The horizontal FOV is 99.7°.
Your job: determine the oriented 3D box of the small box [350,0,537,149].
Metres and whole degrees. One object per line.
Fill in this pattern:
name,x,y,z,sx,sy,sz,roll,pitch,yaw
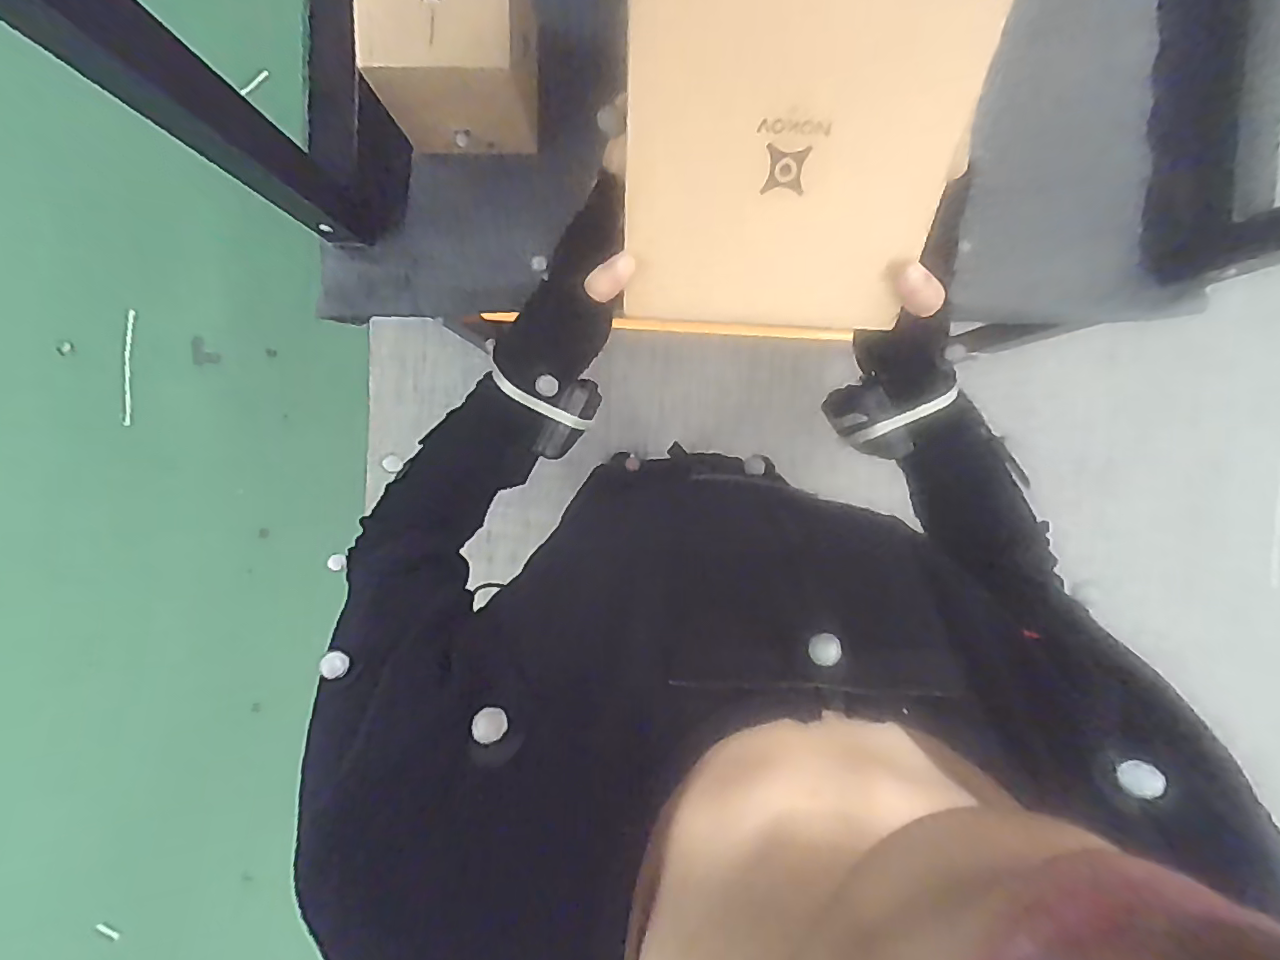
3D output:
small box,-0.220,-0.532,0.642,0.168,0.176,0.179,1,94,0
